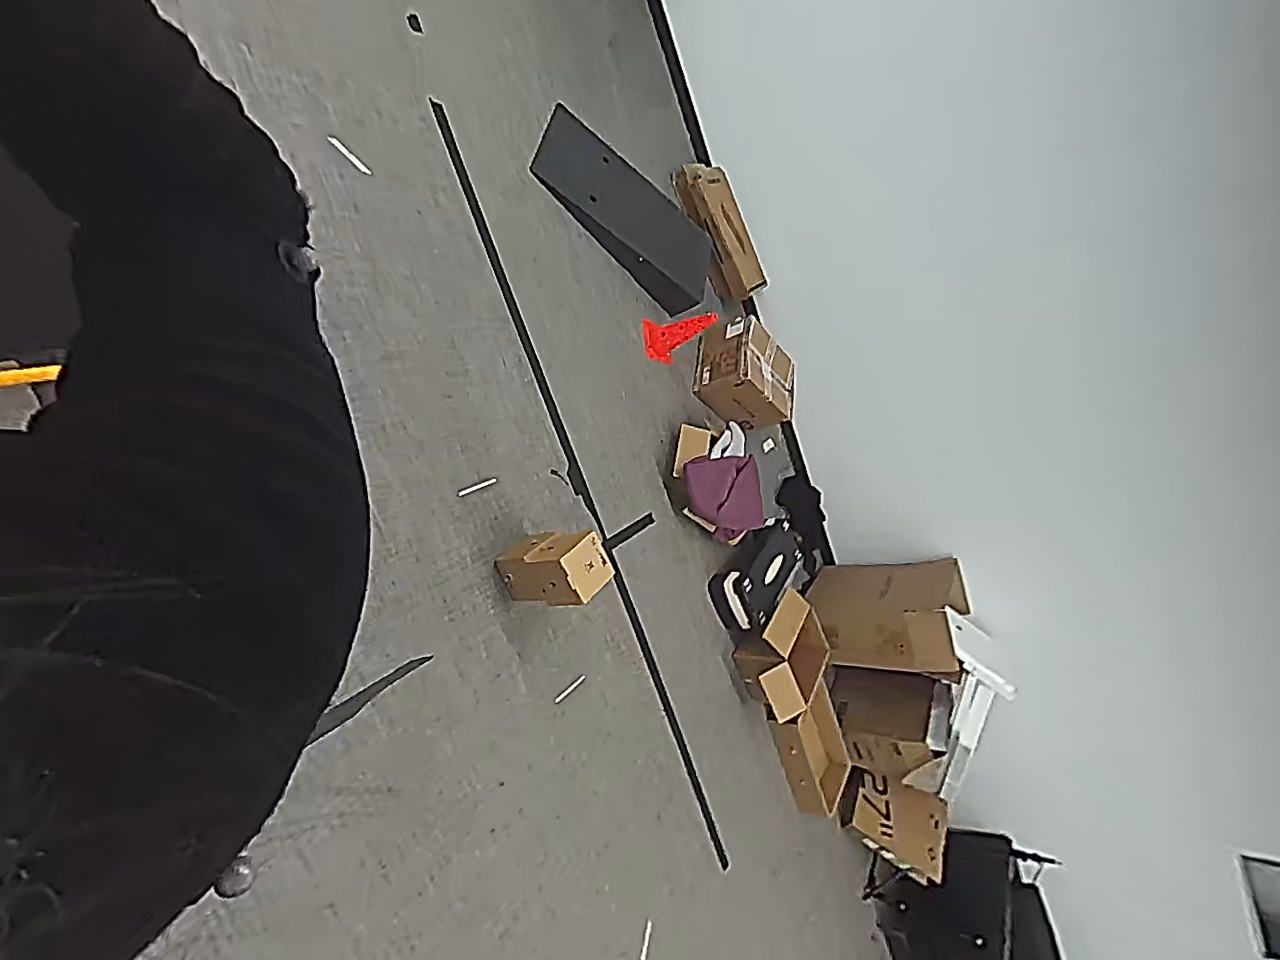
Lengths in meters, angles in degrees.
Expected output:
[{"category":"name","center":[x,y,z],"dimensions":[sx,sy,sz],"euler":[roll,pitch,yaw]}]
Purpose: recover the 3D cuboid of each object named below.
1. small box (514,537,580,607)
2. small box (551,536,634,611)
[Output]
[{"category":"small box","center":[-0.285,0.306,1.802],"dimensions":[0.179,0.176,0.168],"euler":[-38,109,-46]},{"category":"small box","center":[-0.156,0.297,1.699],"dimensions":[0.179,0.176,0.168],"euler":[-40,111,-46]}]
